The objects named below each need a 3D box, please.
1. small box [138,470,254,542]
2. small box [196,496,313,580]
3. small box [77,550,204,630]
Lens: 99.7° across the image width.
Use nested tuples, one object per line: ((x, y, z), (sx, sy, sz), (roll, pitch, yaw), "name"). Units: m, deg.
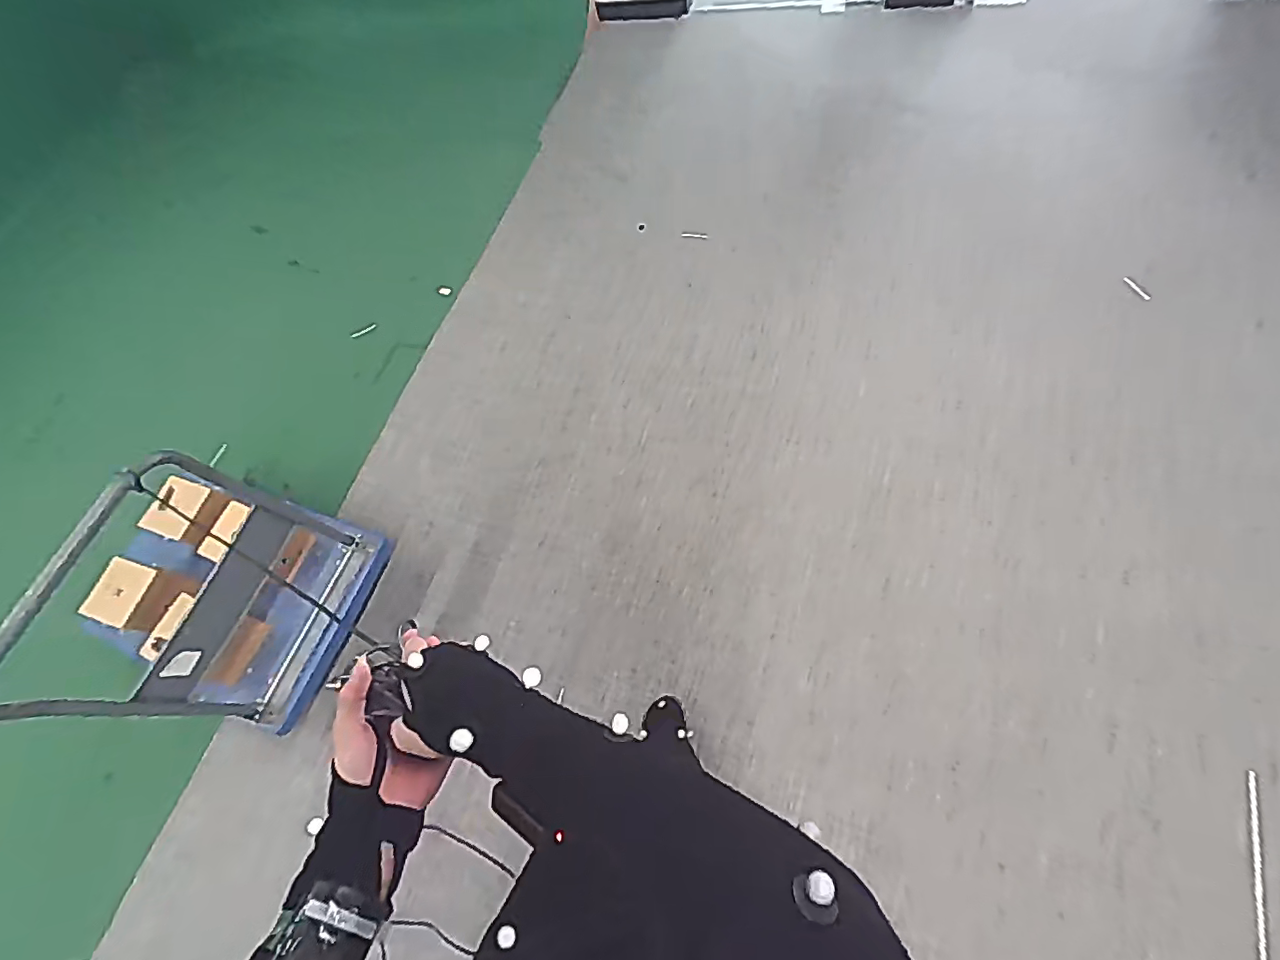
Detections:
((-1.331, 0.093, 1.632), (0.179, 0.176, 0.168), (15, 71, 16), "small box")
((-1.098, 0.171, 1.553), (0.179, 0.176, 0.168), (18, 71, 17), "small box")
((-1.418, 0.320, 1.549), (0.179, 0.176, 0.168), (13, 69, 16), "small box")
